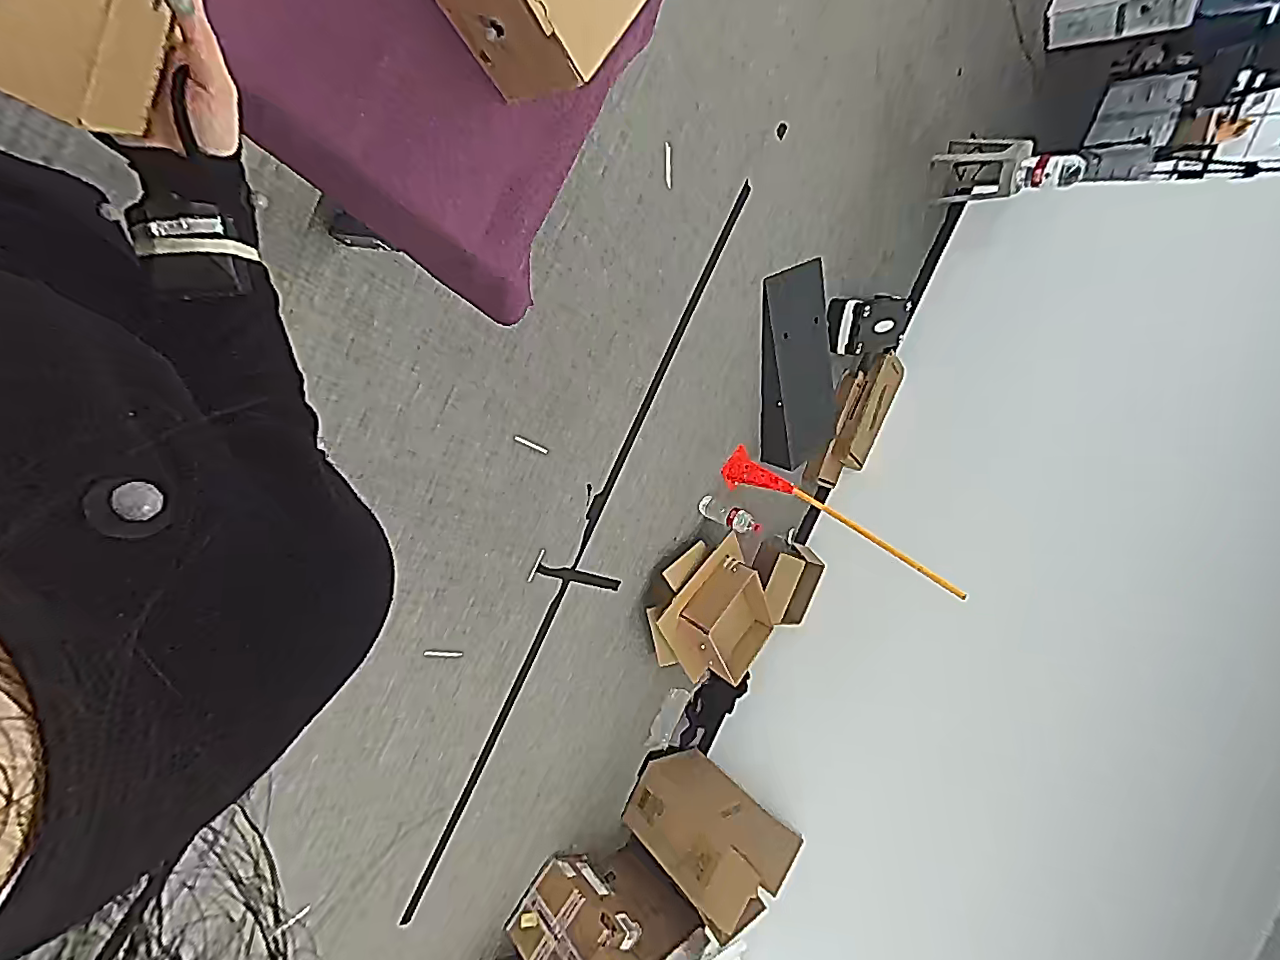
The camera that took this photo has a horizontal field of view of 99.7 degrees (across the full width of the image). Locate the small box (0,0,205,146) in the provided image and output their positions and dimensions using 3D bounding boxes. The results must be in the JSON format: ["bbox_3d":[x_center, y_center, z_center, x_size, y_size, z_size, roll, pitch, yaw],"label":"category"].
[{"bbox_3d":[-0.312,-0.288,0.246,0.168,0.176,0.179,19,105,-41],"label":"small box"}]
